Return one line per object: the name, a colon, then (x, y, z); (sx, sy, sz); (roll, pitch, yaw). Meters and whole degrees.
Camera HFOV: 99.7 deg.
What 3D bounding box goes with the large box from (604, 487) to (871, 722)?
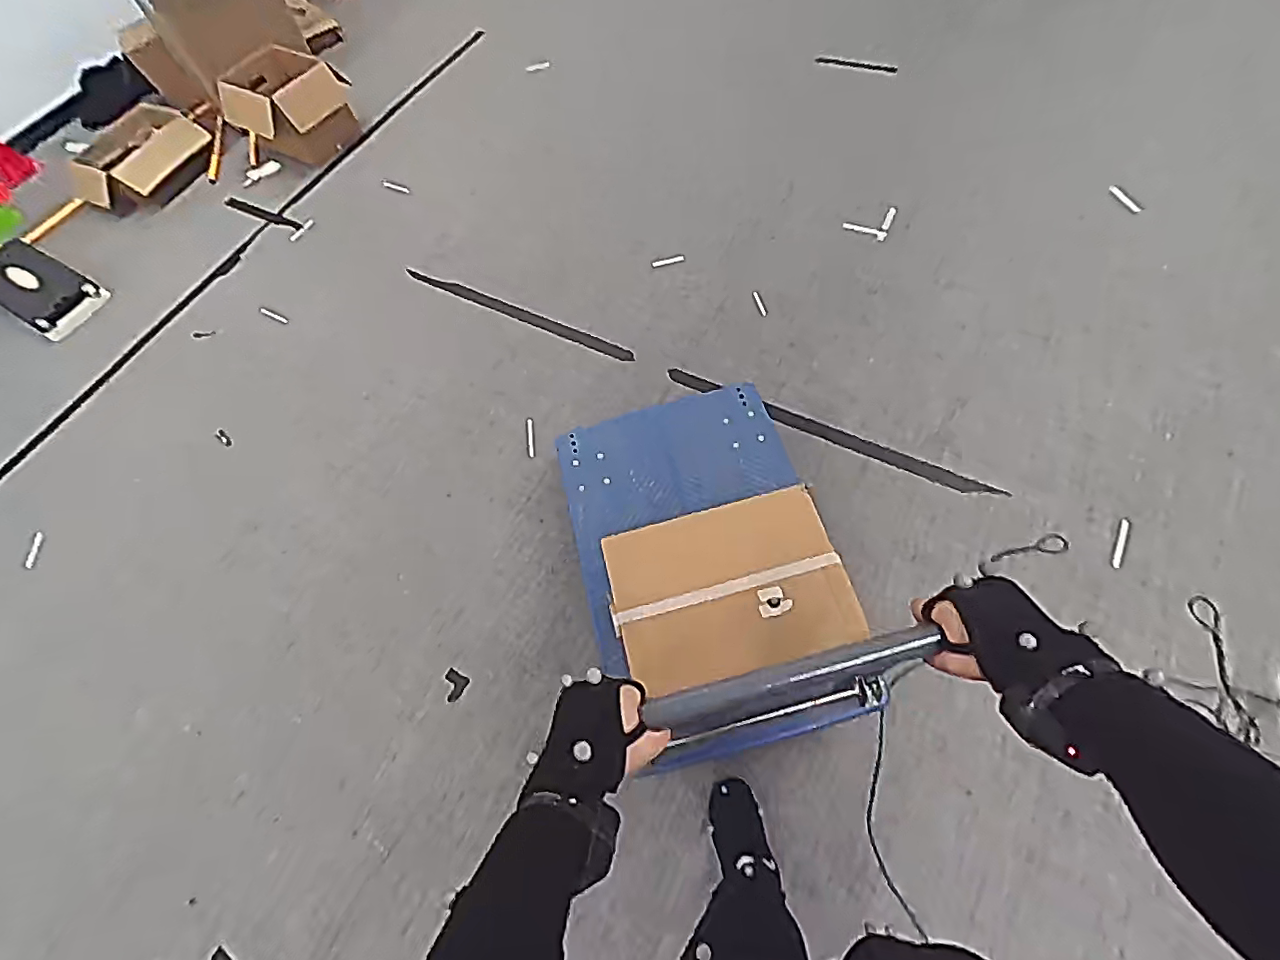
large box: (0.172, 0.264, 1.089); (0.408, 0.320, 0.320); (-15, 62, -1)
